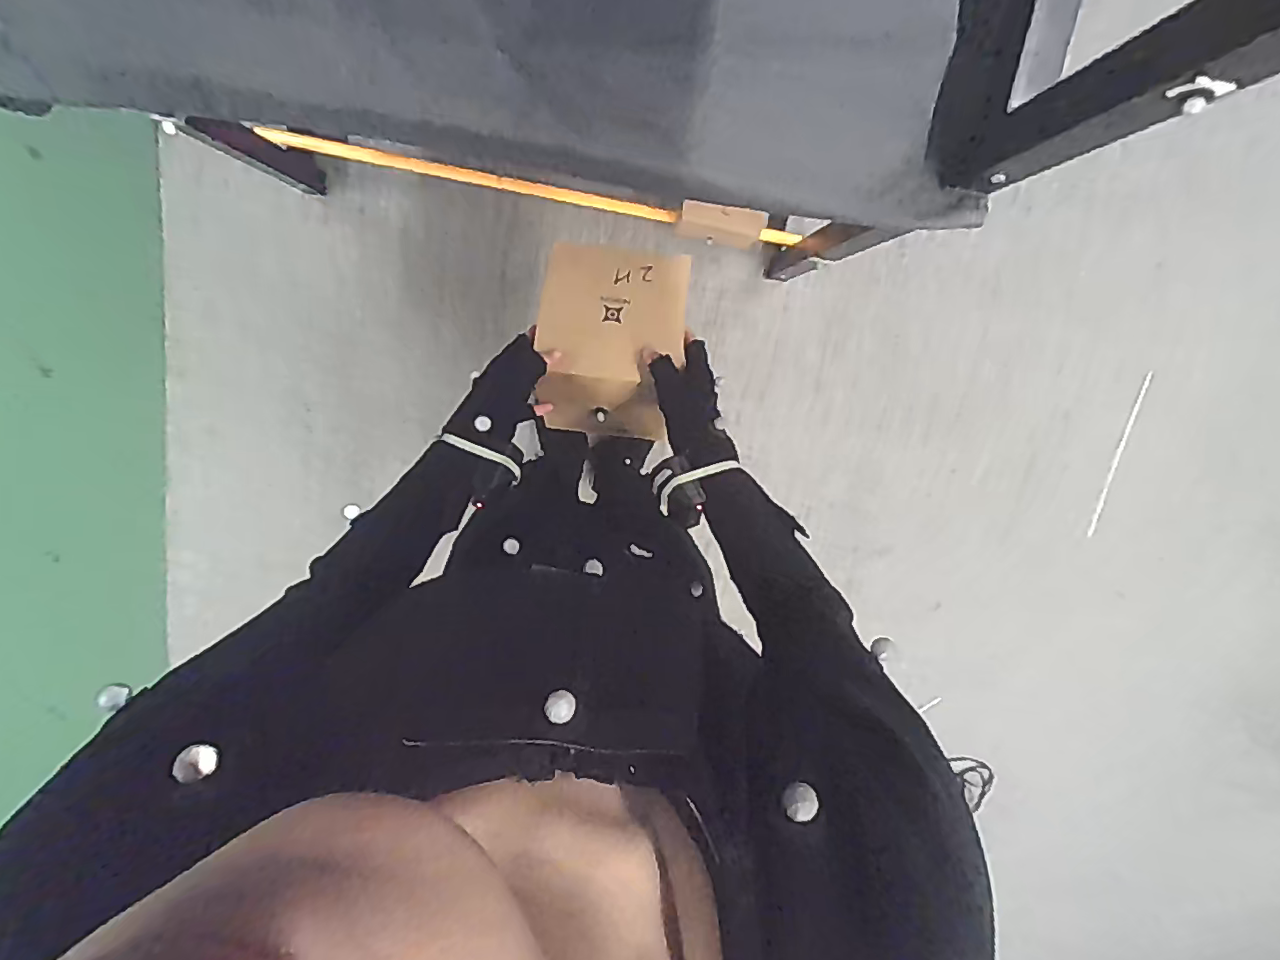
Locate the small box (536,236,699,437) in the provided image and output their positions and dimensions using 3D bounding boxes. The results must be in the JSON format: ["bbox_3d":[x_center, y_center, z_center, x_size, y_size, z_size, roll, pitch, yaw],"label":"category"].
[{"bbox_3d":[-0.025,-0.167,0.677,0.168,0.176,0.179,7,72,-1],"label":"small box"}]
